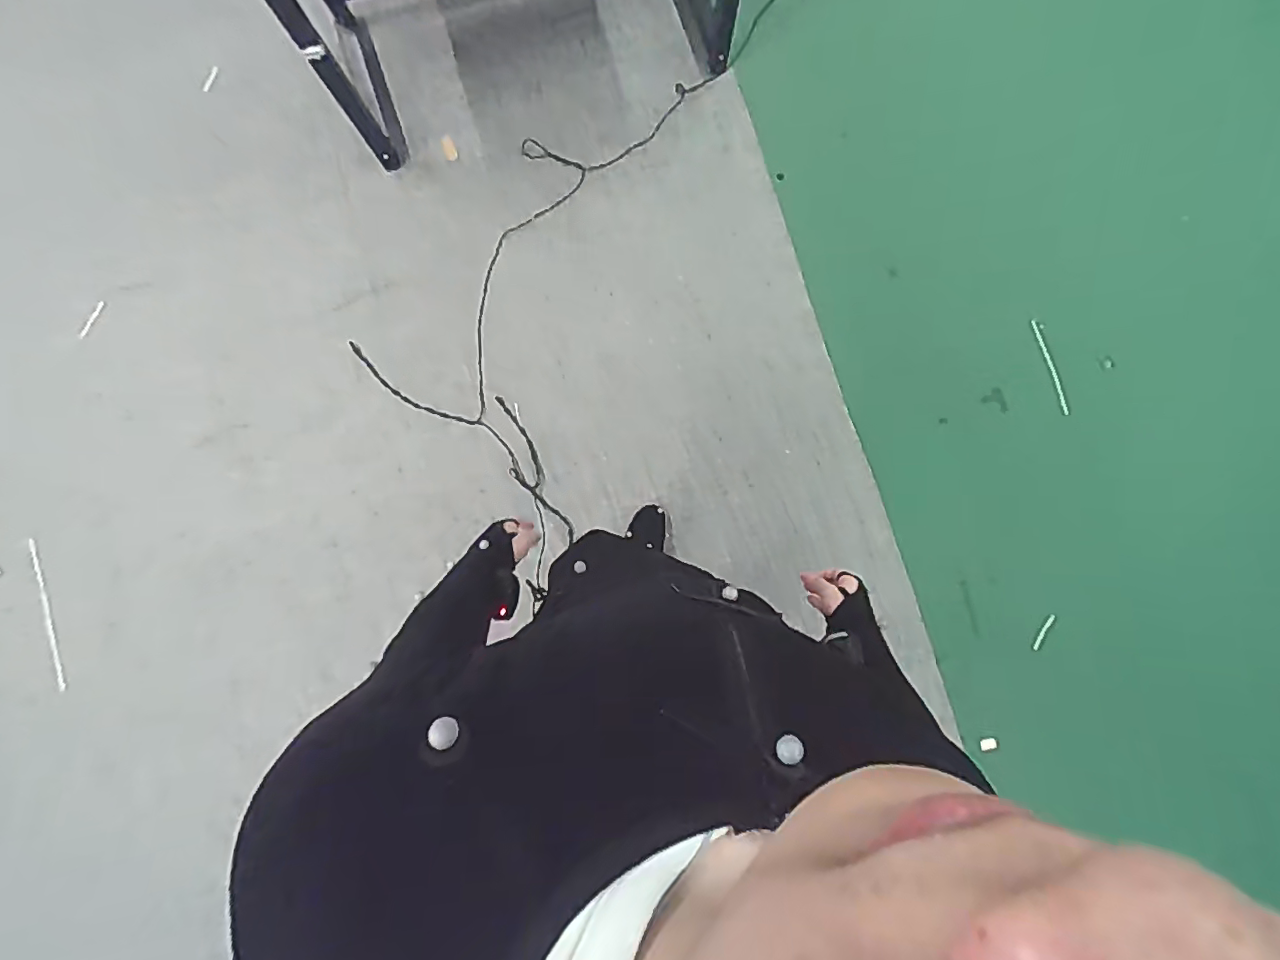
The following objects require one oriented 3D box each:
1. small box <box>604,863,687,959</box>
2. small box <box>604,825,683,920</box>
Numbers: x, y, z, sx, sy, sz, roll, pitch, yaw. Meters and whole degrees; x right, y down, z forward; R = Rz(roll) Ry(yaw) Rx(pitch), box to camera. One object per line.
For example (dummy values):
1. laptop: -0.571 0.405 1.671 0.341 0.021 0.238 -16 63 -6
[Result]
1. small box: 0.013 1.037 1.268 0.168 0.176 0.179 -11 85 0
2. small box: 0.010 1.051 1.430 0.179 0.176 0.168 -11 85 -1
